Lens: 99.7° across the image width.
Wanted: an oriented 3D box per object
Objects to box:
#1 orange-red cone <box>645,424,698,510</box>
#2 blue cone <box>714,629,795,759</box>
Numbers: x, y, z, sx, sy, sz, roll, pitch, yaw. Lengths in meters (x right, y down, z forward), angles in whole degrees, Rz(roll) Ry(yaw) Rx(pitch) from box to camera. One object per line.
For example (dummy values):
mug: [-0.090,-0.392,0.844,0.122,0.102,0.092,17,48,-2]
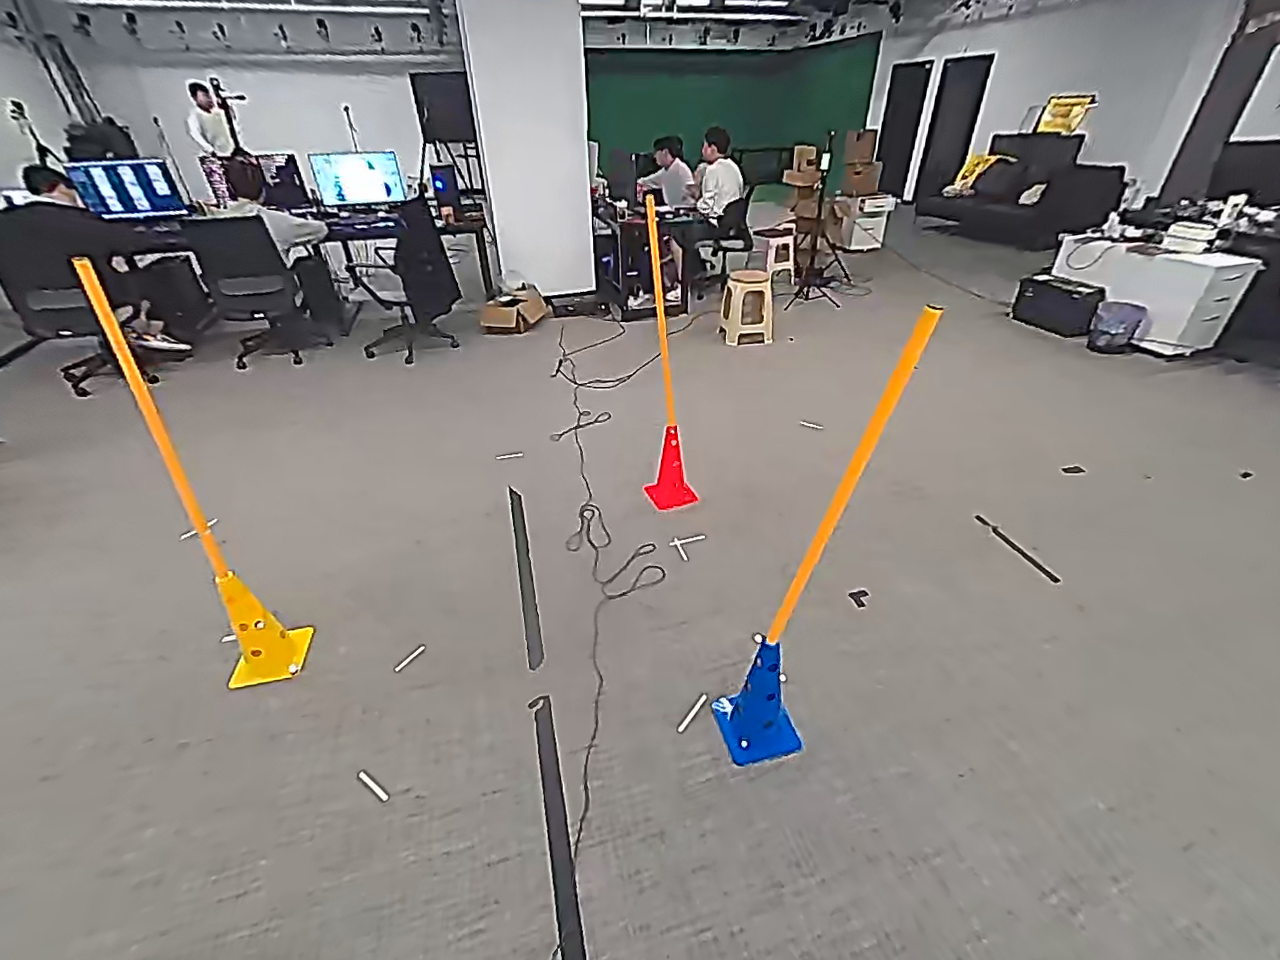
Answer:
orange-red cone: [0.134,-0.077,2.323,0.199,0.360,0.198,-14,35,-15]
blue cone: [0.315,0.539,1.417,0.193,0.380,0.192,-8,34,-10]
